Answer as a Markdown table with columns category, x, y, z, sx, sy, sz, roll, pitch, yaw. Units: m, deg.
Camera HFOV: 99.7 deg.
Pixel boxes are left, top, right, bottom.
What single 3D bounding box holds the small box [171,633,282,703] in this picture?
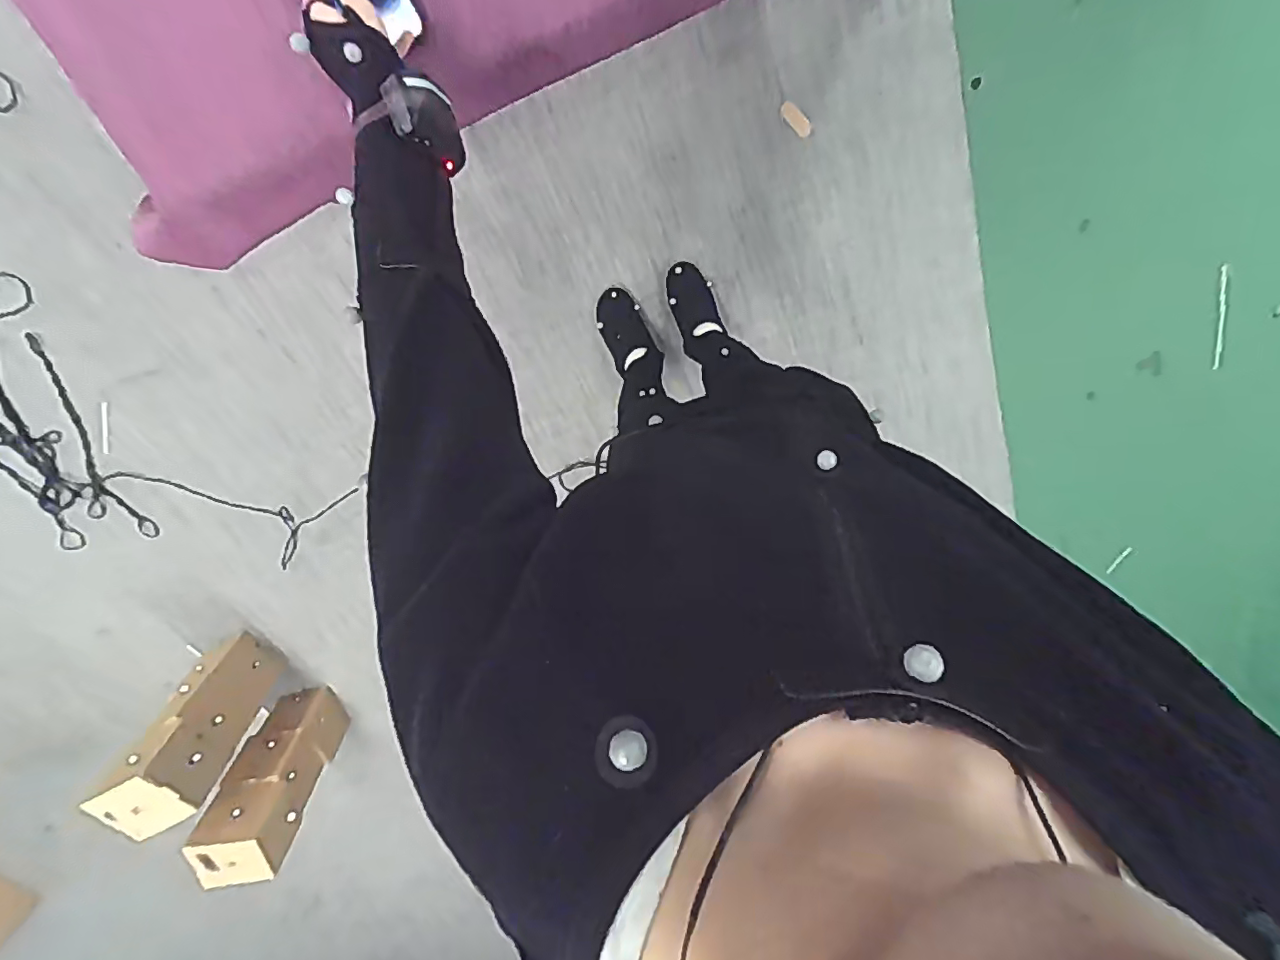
| category | x | y | z | sx | sy | sz | roll | pitch | yaw |
| --- | --- | --- | --- | --- | --- | --- | --- | --- | --- |
| small box | -1.208 | 0.589 | 1.601 | 0.179 | 0.176 | 0.168 | -30 | 114 | 8 |

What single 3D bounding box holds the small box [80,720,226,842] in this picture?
| category | x | y | z | sx | sy | sz | roll | pitch | yaw |
| --- | --- | --- | --- | --- | --- | --- | --- | --- | --- |
| small box | -1.154 | 0.720 | 1.308 | 0.179 | 0.176 | 0.168 | -28 | 115 | 4 |

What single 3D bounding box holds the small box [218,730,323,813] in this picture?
| category | x | y | z | sx | sy | sz | roll | pitch | yaw |
| --- | --- | --- | --- | --- | --- | --- | --- | --- | --- |
| small box | -1.058 | 0.863 | 1.568 | 0.168 | 0.176 | 0.179 | -8 | 114 | -2 |

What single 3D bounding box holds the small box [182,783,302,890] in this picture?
| category | x | y | z | sx | sy | sz | roll | pitch | yaw |
| --- | --- | --- | --- | --- | --- | --- | --- | --- | --- |
| small box | -1.033 | 0.929 | 1.420 | 0.179 | 0.176 | 0.168 | -4 | 114 | -5 |

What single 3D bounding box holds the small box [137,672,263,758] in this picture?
| category | x | y | z | sx | sy | sz | roll | pitch | yaw |
| --- | --- | --- | --- | --- | --- | --- | --- | --- | --- |
| small box | -1.176 | 0.657 | 1.457 | 0.168 | 0.176 | 0.179 | -35 | 114 | 8 |
